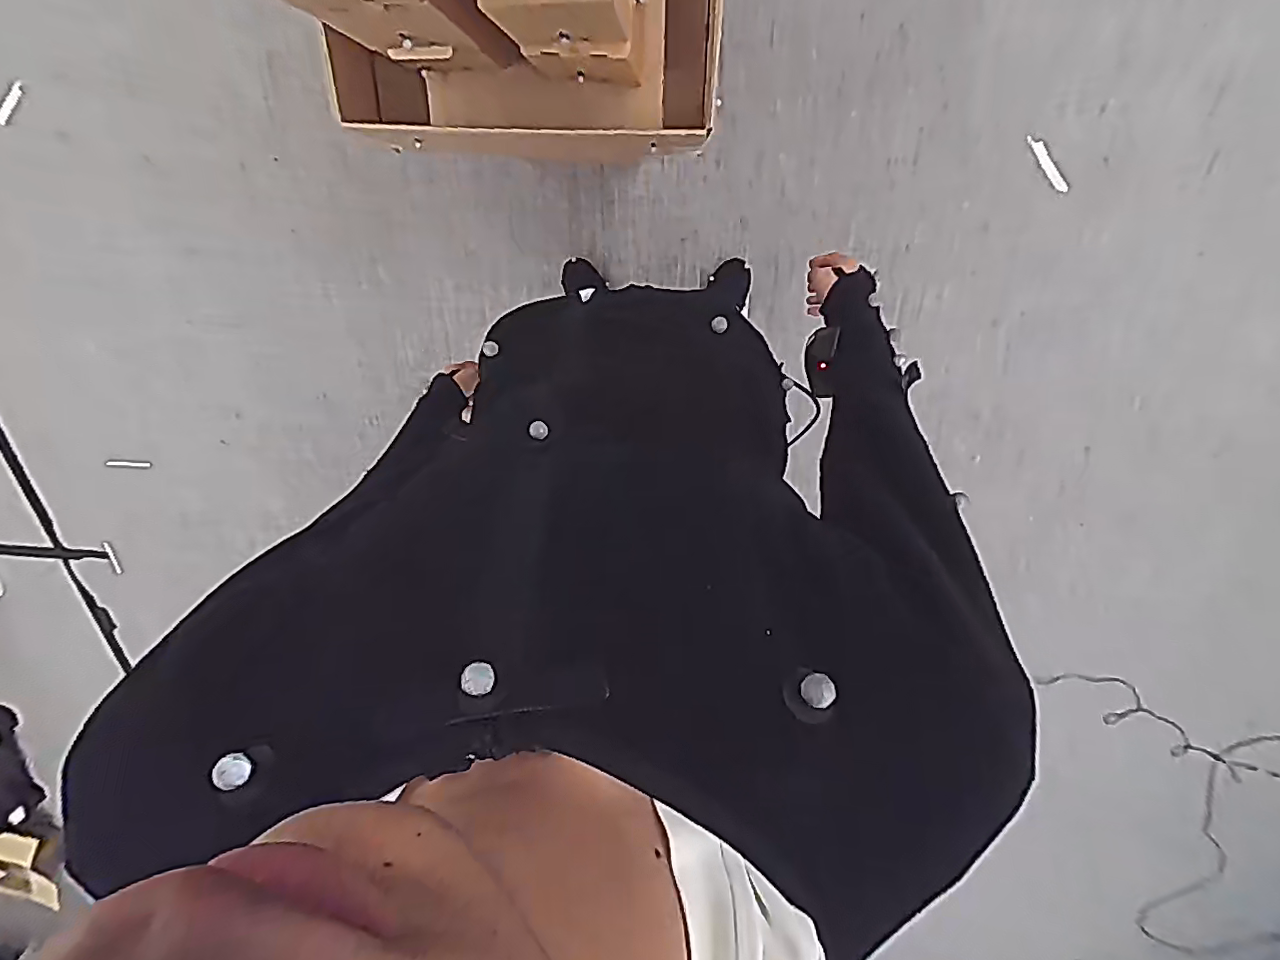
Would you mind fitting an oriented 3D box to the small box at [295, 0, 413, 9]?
[{"bbox_3d":[-0.346,-0.614,0.538,0.168,0.176,0.179,1,114,5],"label":"small box"}]

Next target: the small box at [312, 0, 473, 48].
[{"bbox_3d":[-0.328,-0.684,0.687,0.168,0.176,0.179,1,116,4],"label":"small box"}]

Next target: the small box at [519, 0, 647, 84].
[{"bbox_3d":[-0.081,-0.735,0.826,0.168,0.176,0.179,6,116,5],"label":"small box"}]
